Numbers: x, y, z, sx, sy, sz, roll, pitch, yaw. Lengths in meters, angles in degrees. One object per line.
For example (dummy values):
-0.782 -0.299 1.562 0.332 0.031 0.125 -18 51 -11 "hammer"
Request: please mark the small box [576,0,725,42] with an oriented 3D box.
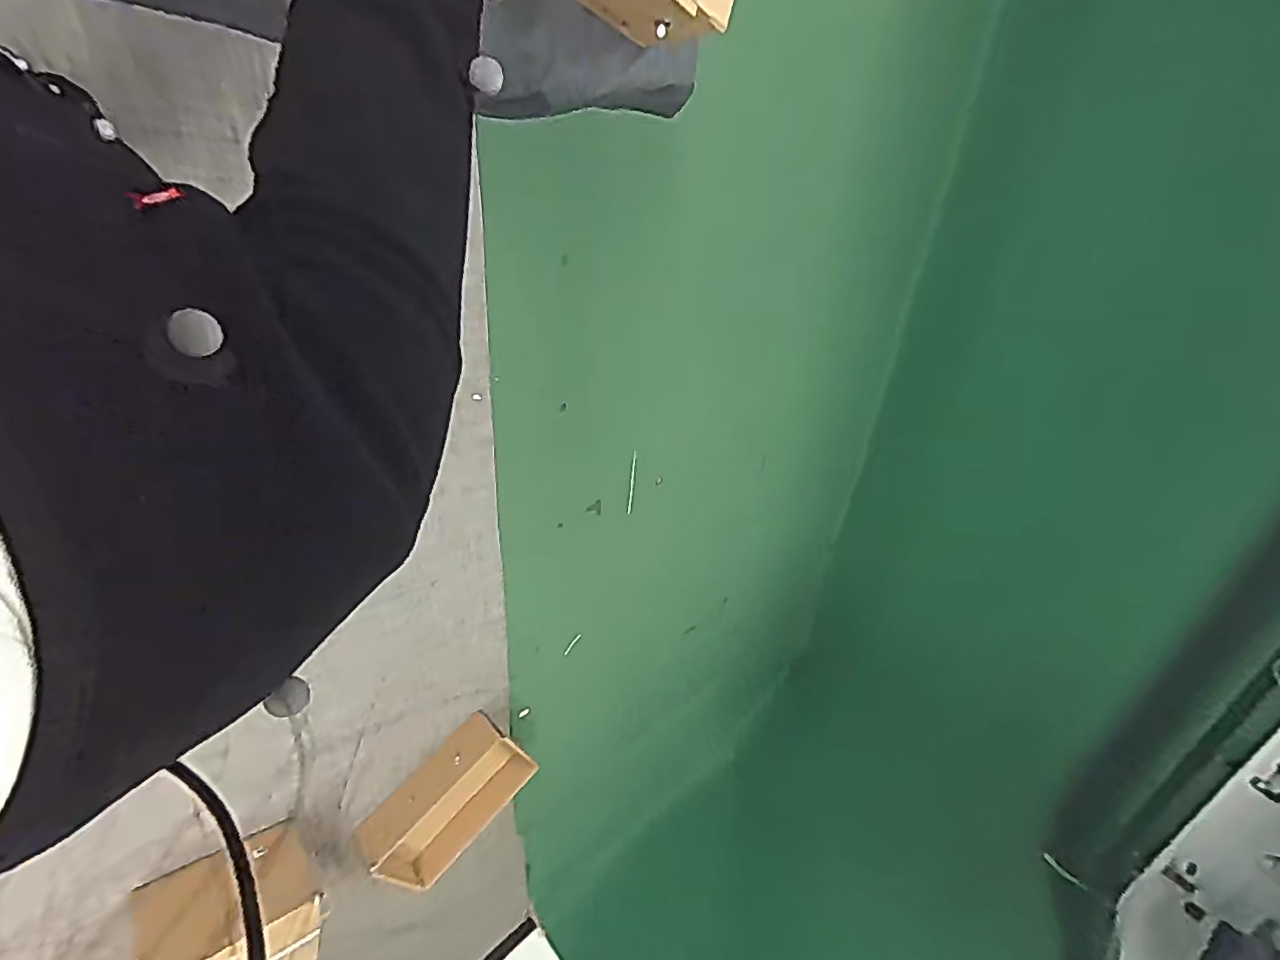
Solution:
0.008 -0.692 0.677 0.168 0.176 0.179 -8 117 -47 "small box"
